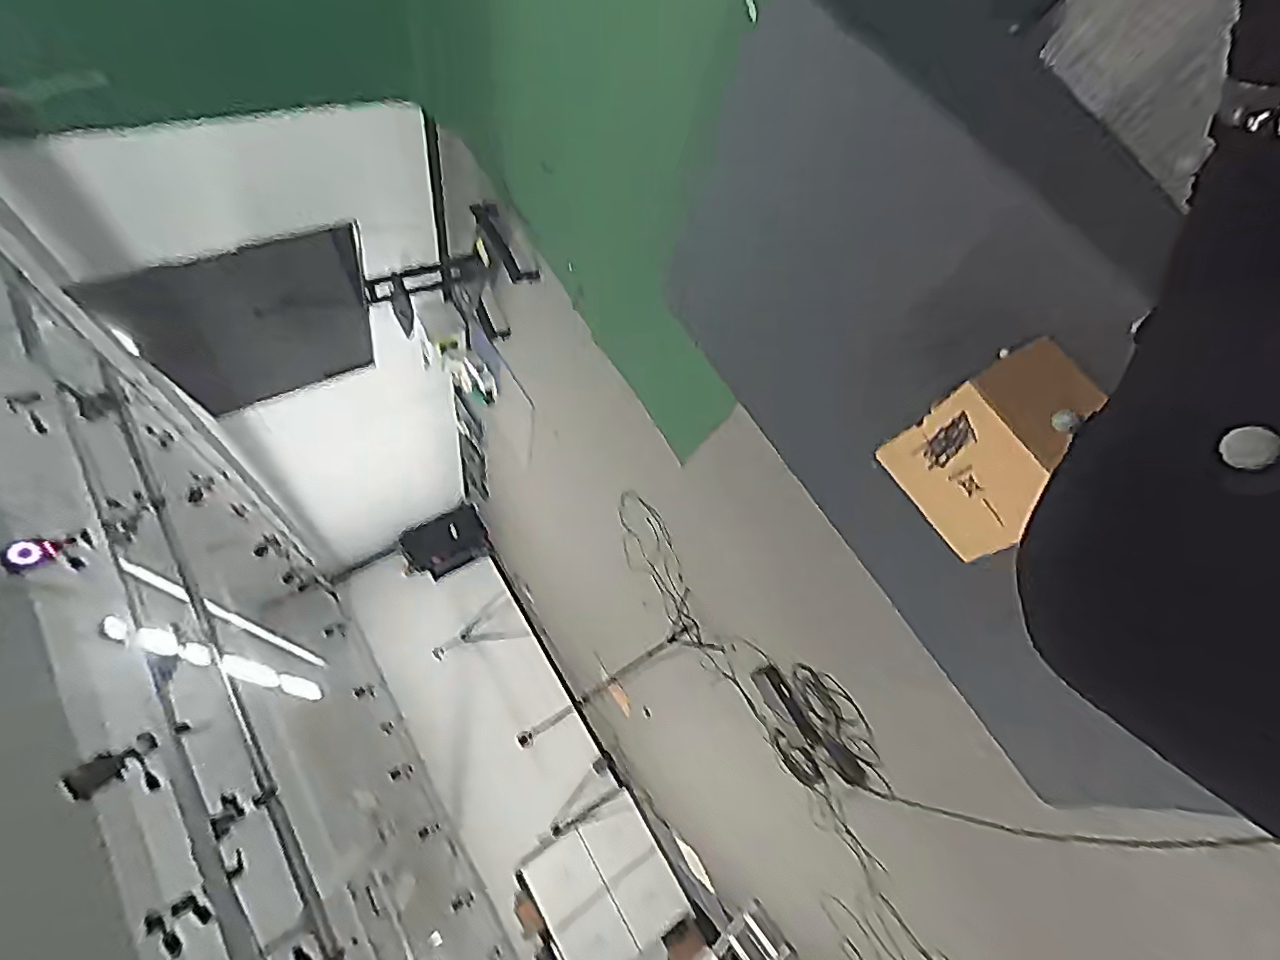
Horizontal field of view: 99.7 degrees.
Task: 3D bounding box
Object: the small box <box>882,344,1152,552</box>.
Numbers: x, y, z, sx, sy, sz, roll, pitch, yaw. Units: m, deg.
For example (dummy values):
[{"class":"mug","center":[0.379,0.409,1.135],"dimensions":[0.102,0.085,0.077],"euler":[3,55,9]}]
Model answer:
[{"class":"small box","center":[0.452,-0.045,0.664],"dimensions":[0.179,0.176,0.168],"euler":[56,155,18]}]
